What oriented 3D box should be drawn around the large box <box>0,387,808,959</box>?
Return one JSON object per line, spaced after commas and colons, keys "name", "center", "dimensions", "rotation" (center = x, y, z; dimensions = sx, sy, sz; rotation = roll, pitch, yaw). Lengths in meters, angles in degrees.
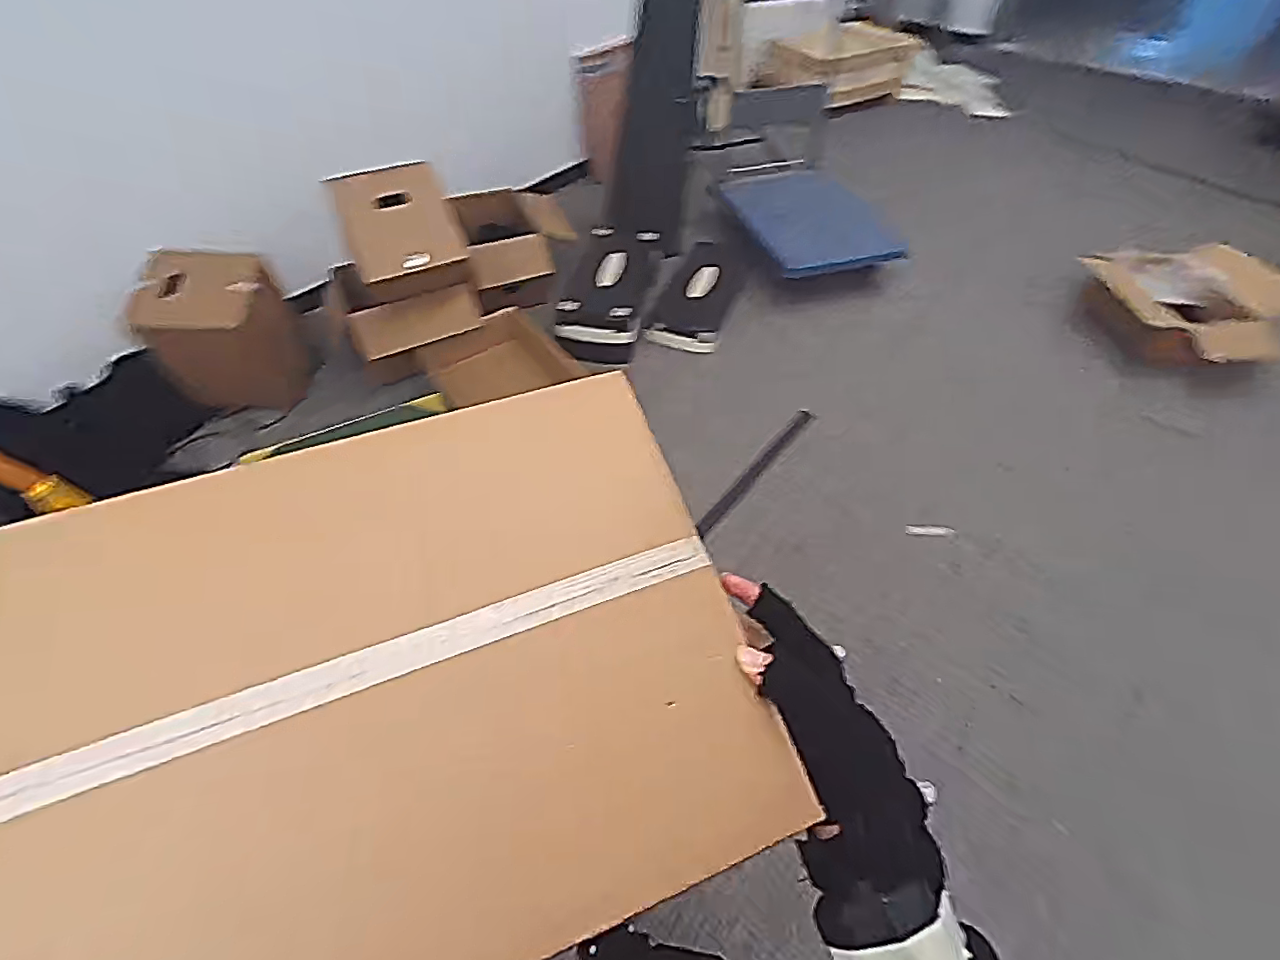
{"name": "large box", "center": [-0.152, 0.179, 0.450], "dimensions": [0.408, 0.320, 0.320], "rotation": [-16, 66, -13]}
